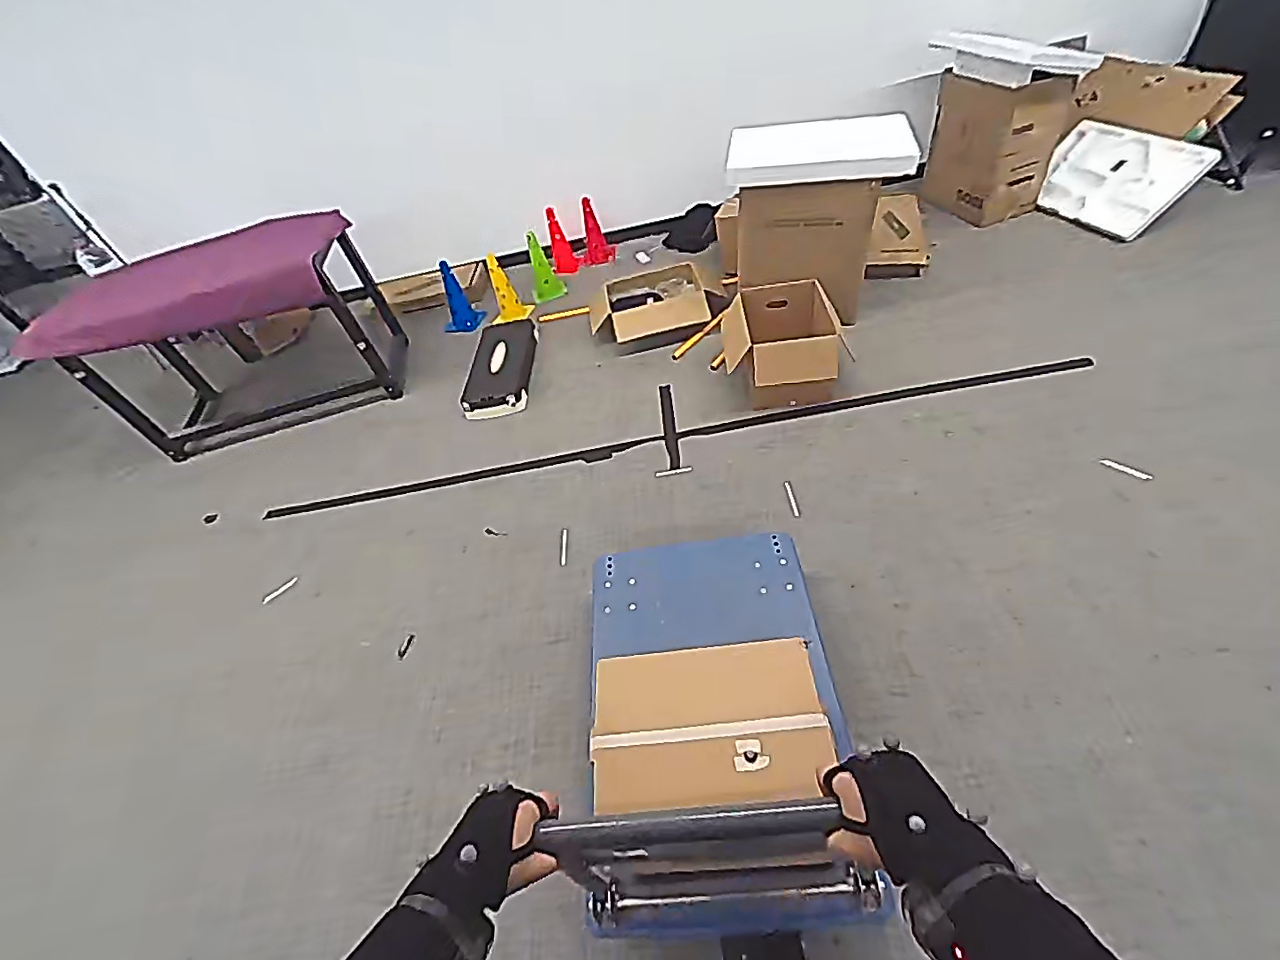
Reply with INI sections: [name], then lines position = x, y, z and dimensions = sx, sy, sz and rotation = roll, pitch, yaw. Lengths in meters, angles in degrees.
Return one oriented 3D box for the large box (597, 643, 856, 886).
[large box]
position = 0.143, 0.544, 1.024
dimensions = 0.408, 0.320, 0.320
rotation = -8, 47, 5
